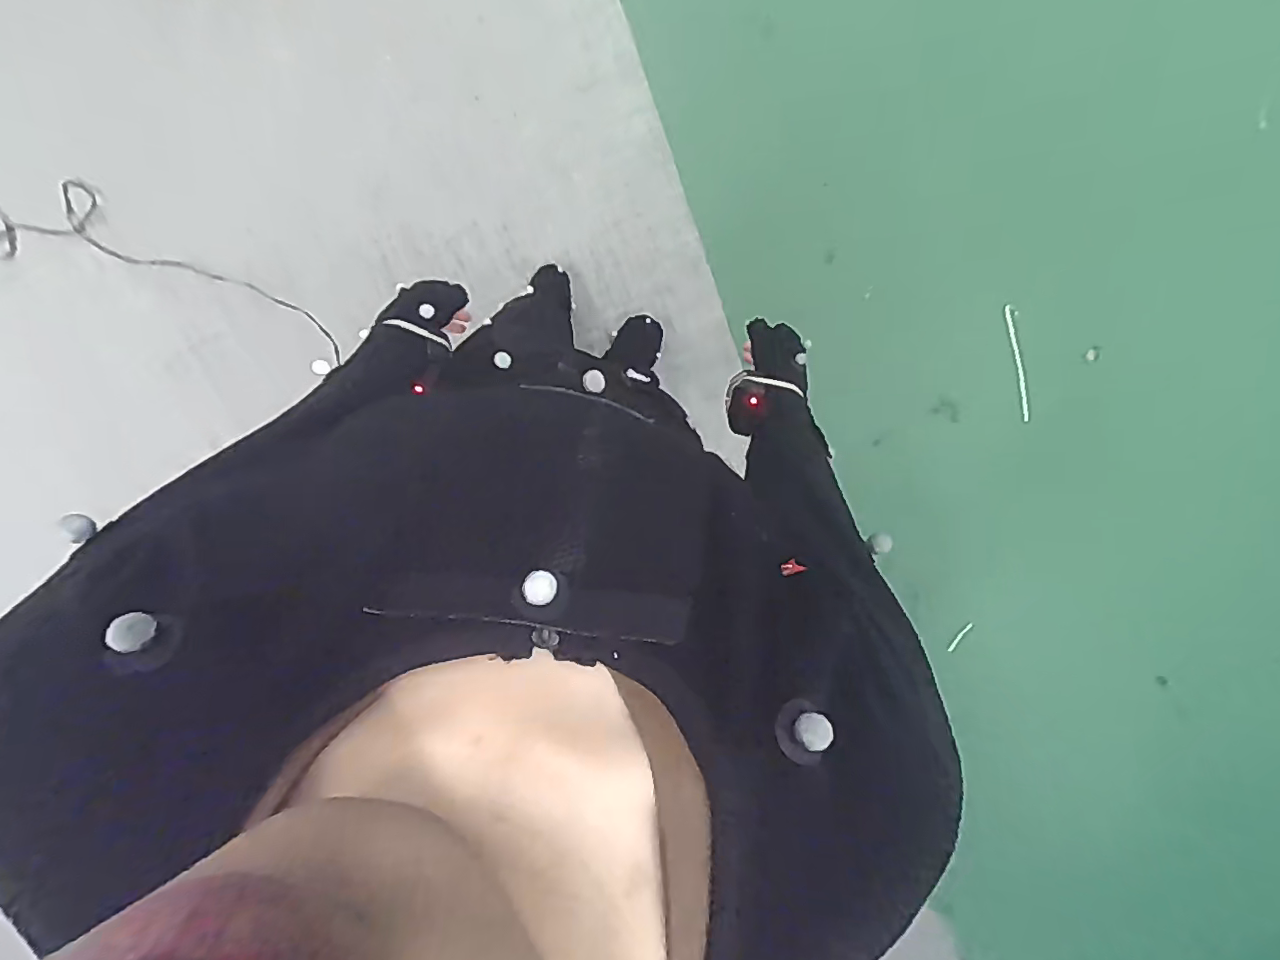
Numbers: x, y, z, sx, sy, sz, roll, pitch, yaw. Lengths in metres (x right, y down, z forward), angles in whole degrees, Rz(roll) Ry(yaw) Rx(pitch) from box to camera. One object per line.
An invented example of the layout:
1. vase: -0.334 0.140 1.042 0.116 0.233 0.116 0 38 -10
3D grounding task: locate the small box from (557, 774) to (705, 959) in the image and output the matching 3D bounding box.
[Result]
1. small box: -0.009 0.611 0.855 0.168 0.176 0.179 -24 106 8
